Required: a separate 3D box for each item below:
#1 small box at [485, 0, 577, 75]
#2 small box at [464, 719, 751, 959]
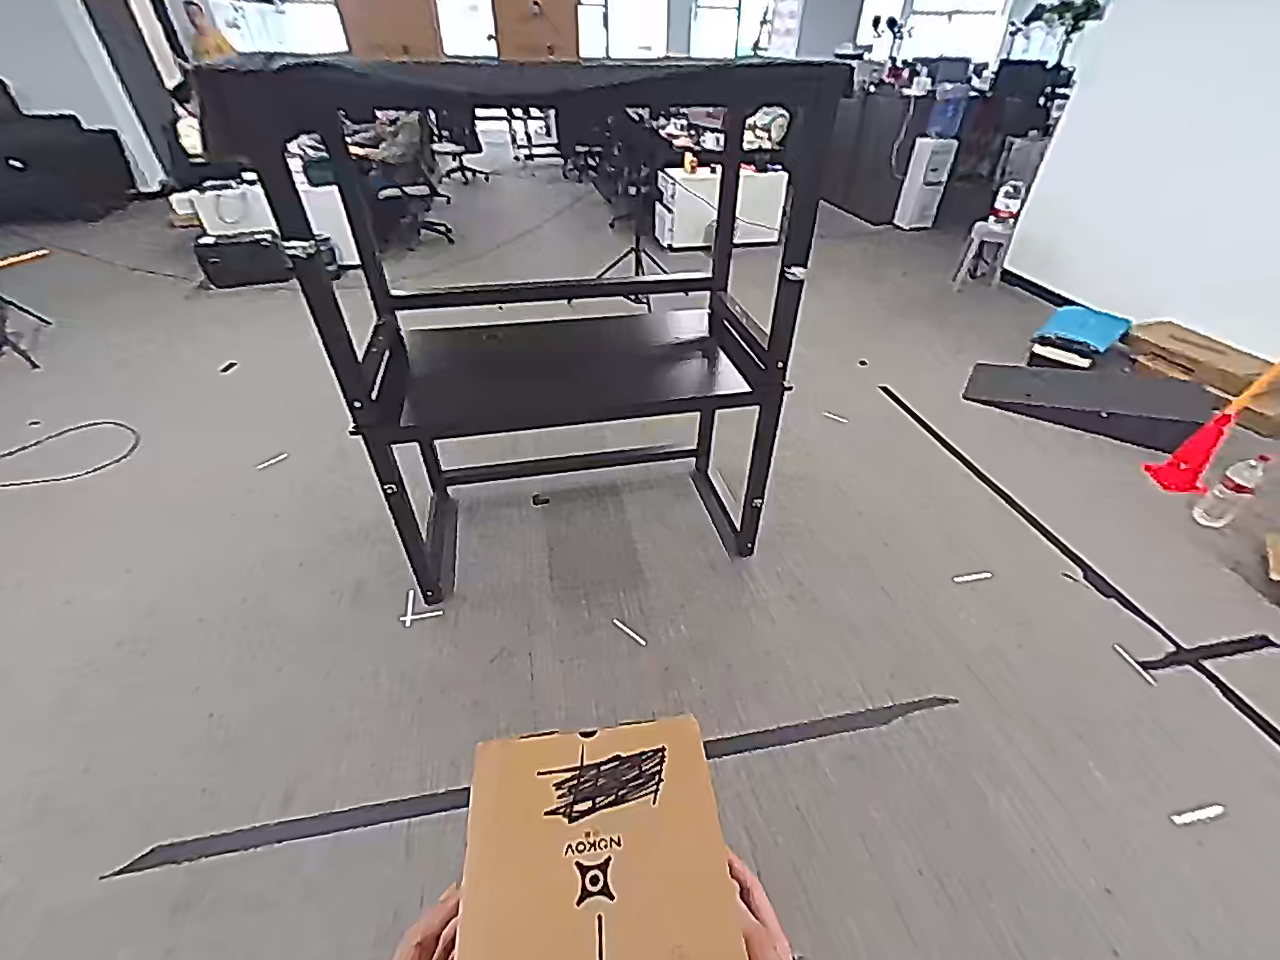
[{"bbox_3d":[-0.218,-0.913,1.072,0.168,0.176,0.179,-6,38,-10],"label":"small box"},{"bbox_3d":[-0.024,0.306,0.394,0.168,0.176,0.179,-5,40,-5],"label":"small box"}]
